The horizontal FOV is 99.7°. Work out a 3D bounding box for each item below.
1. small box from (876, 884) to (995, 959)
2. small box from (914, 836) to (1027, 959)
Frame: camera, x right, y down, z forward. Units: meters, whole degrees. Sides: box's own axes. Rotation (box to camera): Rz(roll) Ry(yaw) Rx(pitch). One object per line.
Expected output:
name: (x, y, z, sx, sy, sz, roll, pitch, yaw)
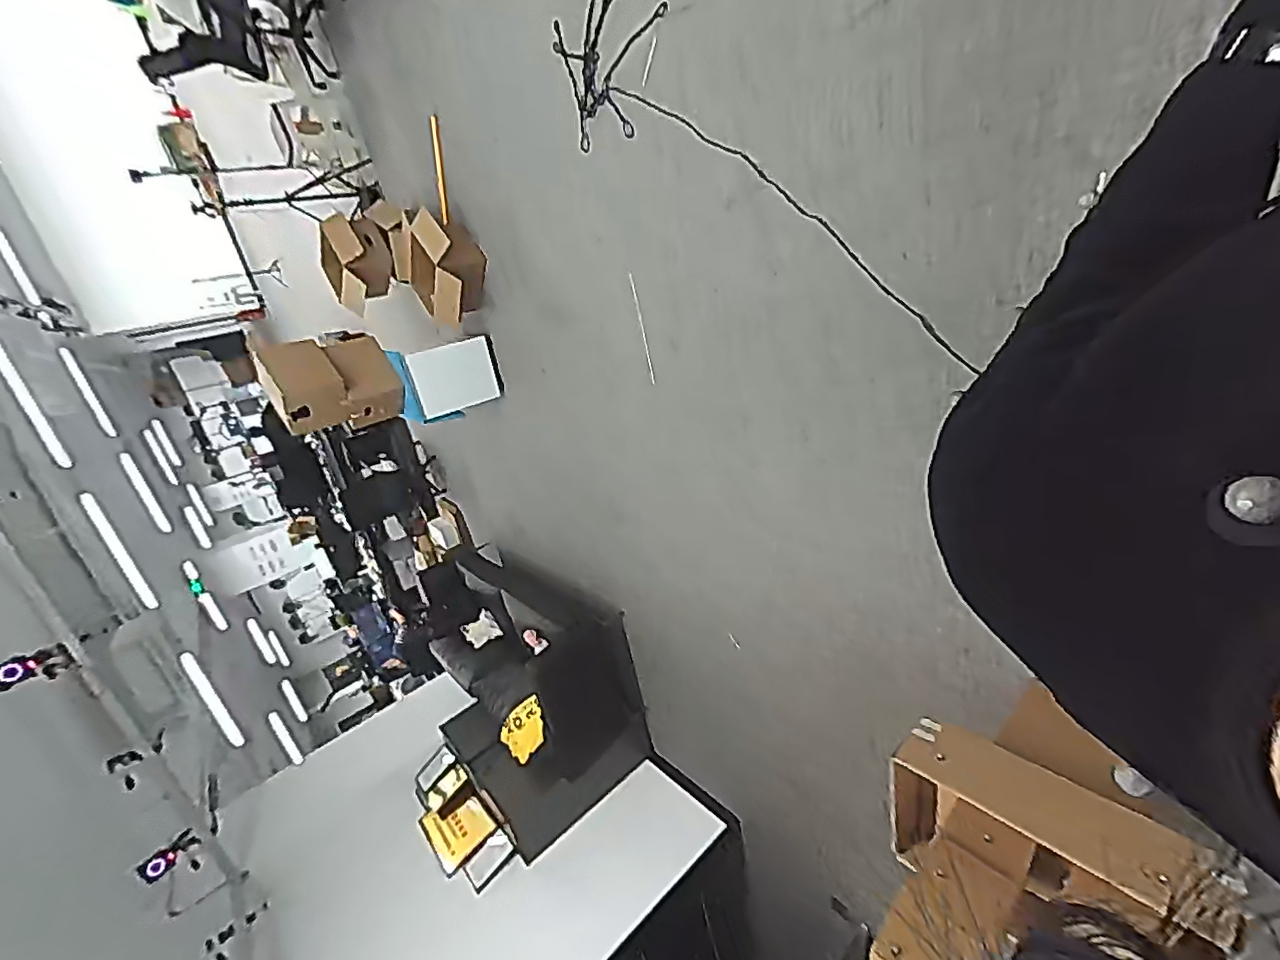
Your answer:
small box: (0.629, 1.031, 1.158, 0.179, 0.176, 0.168, 21, 129, 46)
small box: (0.751, 0.968, 1.243, 0.179, 0.176, 0.168, 19, 127, 46)
